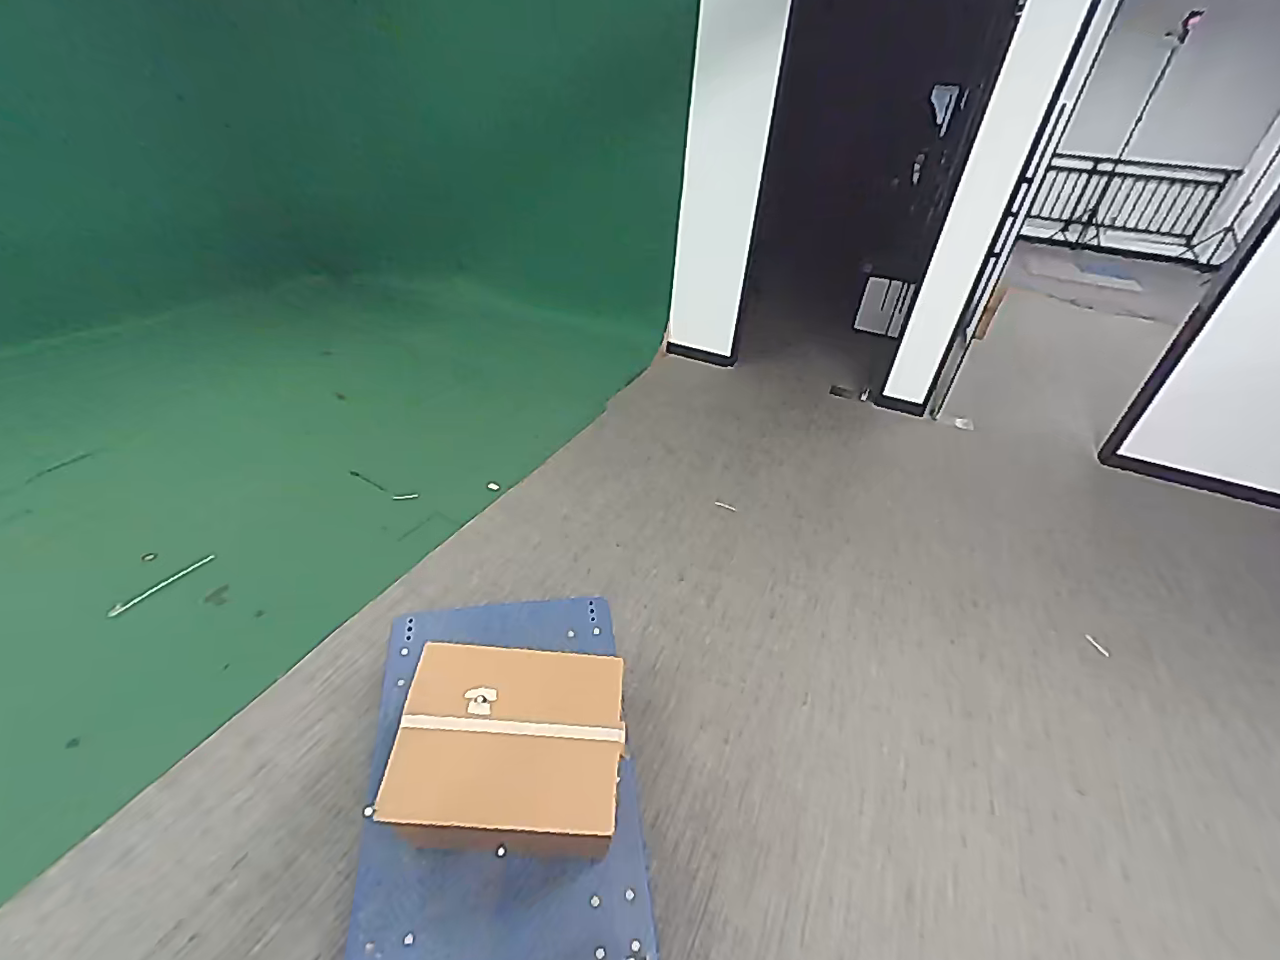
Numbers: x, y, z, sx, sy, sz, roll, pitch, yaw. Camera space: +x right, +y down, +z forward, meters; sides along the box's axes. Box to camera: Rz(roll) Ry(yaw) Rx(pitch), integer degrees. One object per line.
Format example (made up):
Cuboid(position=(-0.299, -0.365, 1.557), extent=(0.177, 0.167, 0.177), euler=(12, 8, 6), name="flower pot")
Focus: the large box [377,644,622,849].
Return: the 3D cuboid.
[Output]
Cuboid(position=(-0.248, 0.558, 1.116), extent=(0.408, 0.320, 0.320), euler=(5, 49, -2), name="large box")
